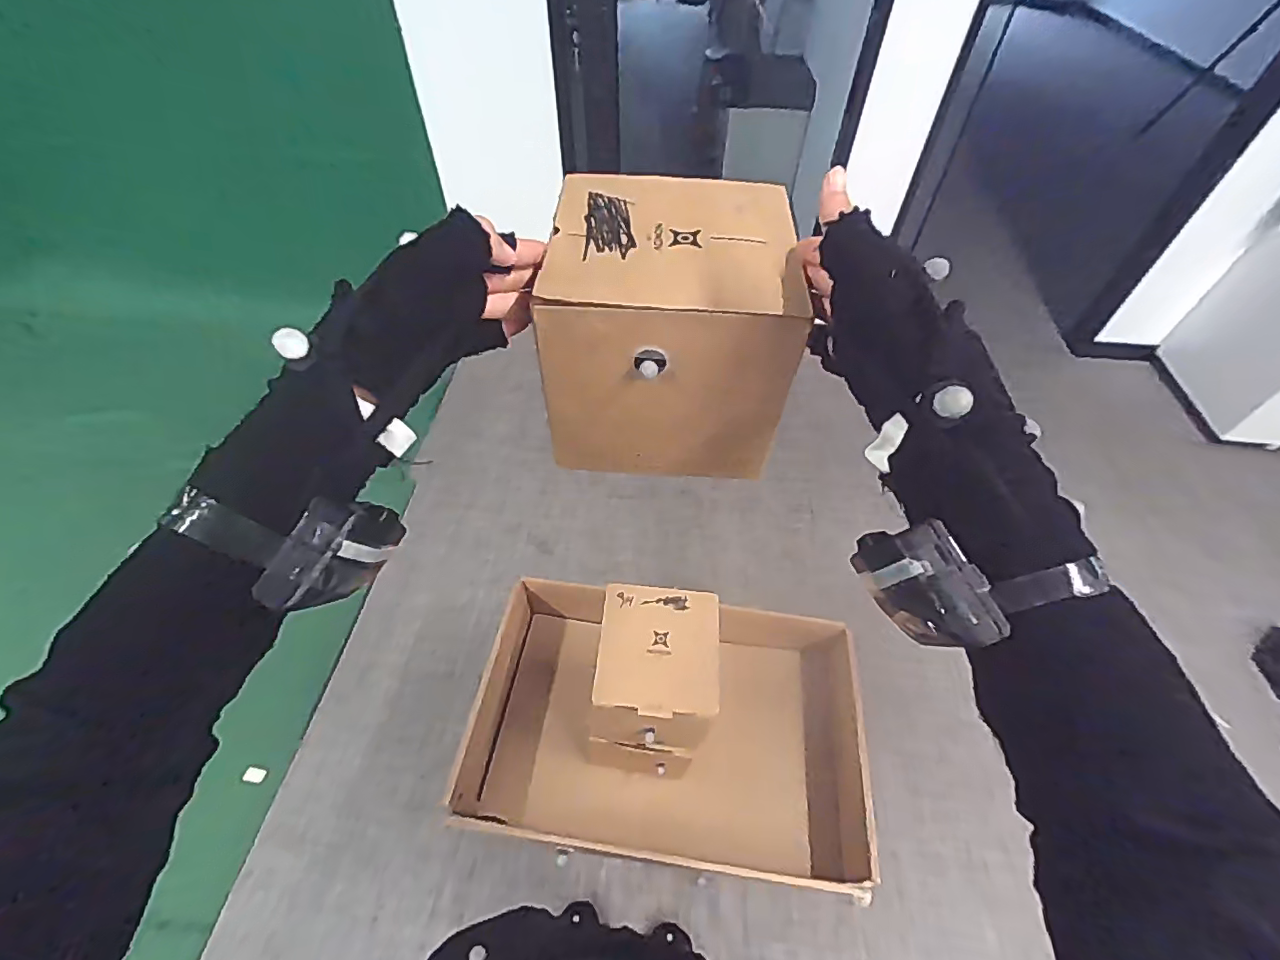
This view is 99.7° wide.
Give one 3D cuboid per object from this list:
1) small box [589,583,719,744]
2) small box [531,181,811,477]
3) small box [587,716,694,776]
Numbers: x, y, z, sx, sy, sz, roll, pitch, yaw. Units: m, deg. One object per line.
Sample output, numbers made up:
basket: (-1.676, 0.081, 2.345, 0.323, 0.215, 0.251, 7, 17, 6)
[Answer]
small box: (0.021, 0.276, 0.798, 0.168, 0.176, 0.179, 7, 52, 1)
small box: (0.022, -0.117, 0.441, 0.179, 0.176, 0.168, 4, 54, 0)
small box: (0.008, 0.384, 0.921, 0.168, 0.176, 0.179, 8, 49, 2)
